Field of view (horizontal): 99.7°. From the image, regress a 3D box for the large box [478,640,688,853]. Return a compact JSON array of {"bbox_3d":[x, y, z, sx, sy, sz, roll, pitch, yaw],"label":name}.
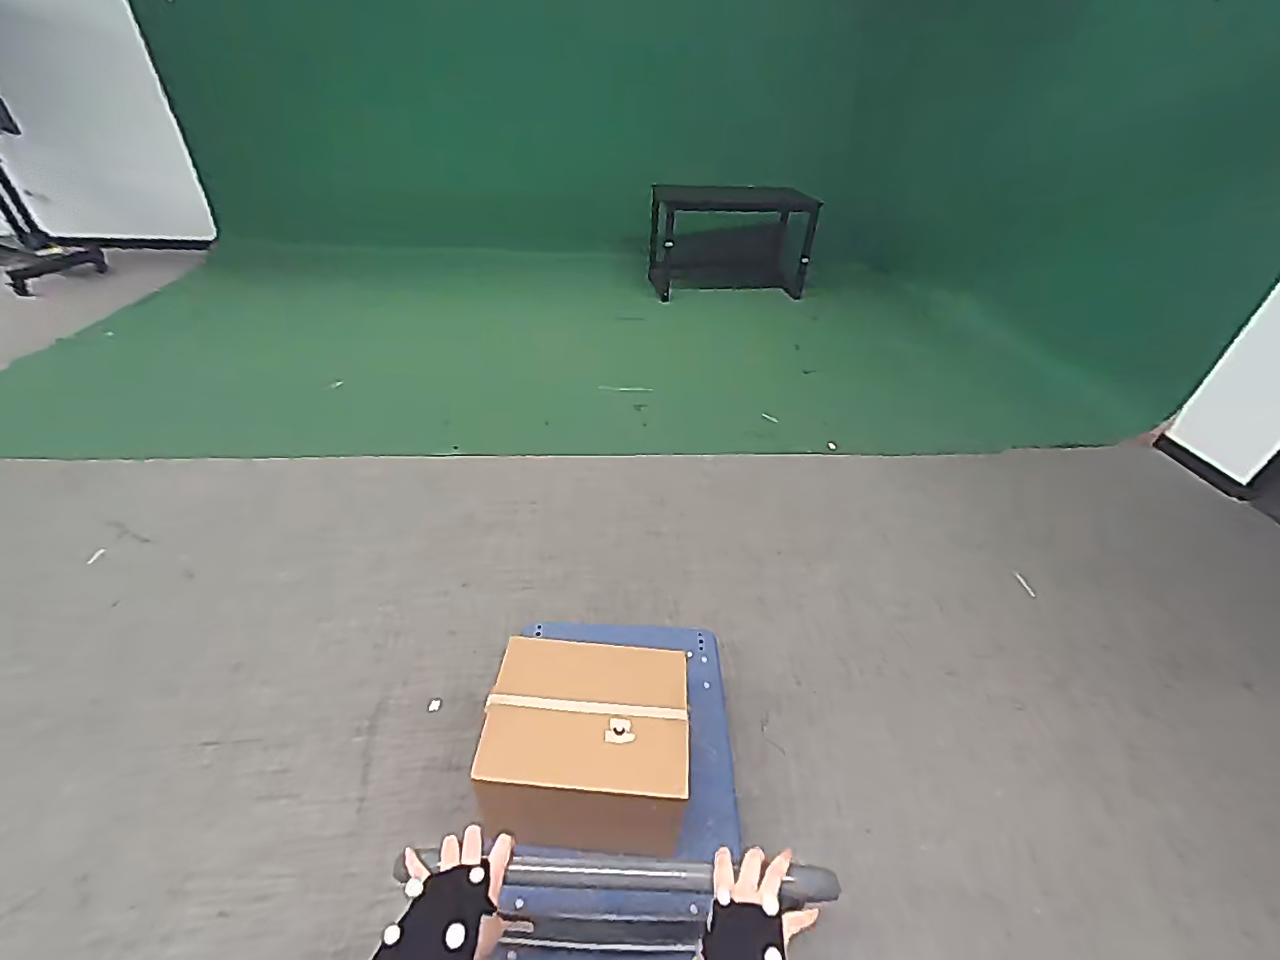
[{"bbox_3d":[-0.115,0.595,1.215,0.408,0.320,0.320,6,38,0],"label":"large box"}]
